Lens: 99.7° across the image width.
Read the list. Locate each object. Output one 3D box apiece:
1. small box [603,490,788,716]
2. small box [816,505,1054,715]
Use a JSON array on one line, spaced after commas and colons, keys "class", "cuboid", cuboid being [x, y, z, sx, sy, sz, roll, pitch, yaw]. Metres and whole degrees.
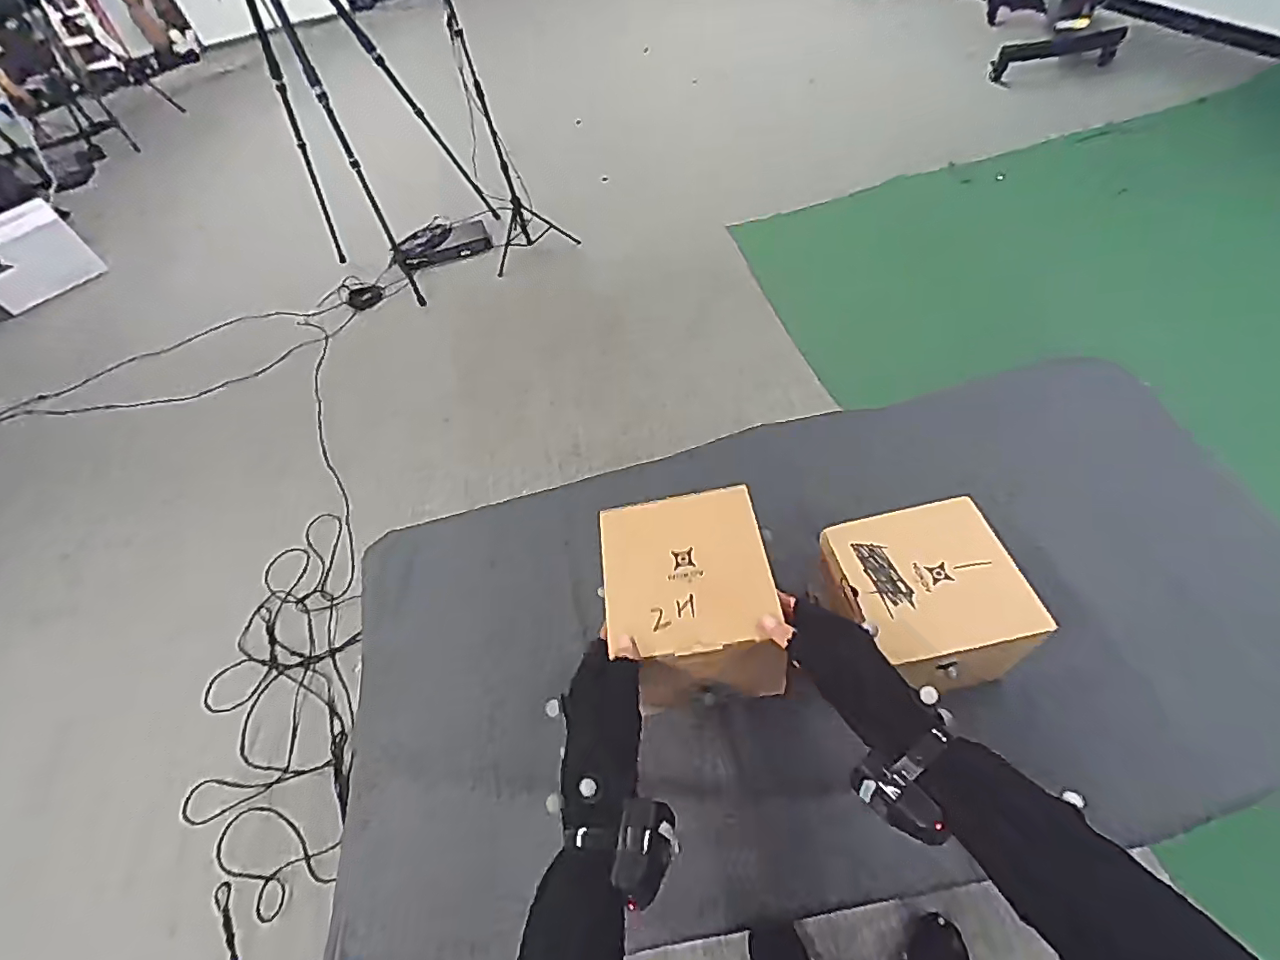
[{"class": "small box", "cuboid": [0.058, 0.139, 0.596, 0.168, 0.176, 0.179, -10, 50, 5]}, {"class": "small box", "cuboid": [0.319, 0.158, 0.635, 0.179, 0.176, 0.168, -13, 52, 0]}]
